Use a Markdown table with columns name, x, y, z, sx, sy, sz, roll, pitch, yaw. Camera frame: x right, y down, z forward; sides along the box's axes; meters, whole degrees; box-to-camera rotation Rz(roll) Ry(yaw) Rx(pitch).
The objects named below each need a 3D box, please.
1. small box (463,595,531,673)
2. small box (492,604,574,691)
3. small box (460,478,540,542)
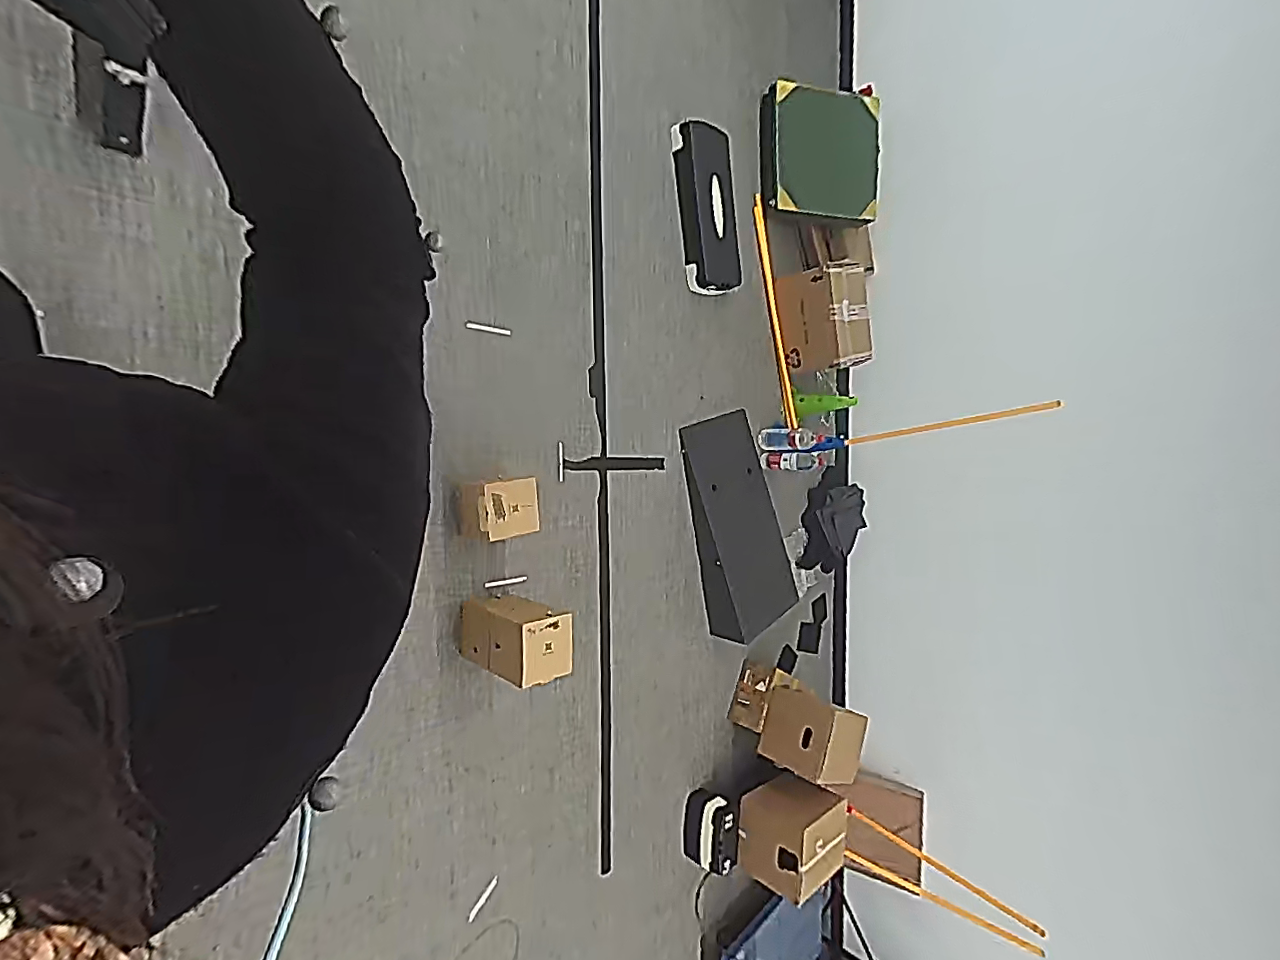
| name | x | y | z | sx | sy | sz | roll | pitch | yaw |
| --- | --- | --- | --- | --- | --- | --- | --- | --- | --- |
| small box | -0.421 | 0.459 | 1.636 | 0.168 | 0.176 | 0.179 | 1 | 91 | -45 |
| small box | -0.304 | 0.463 | 1.522 | 0.168 | 0.176 | 0.179 | -1 | 93 | -46 |
| small box | -0.422 | 0.084 | 1.614 | 0.179 | 0.176 | 0.168 | -11 | 100 | -45 |
